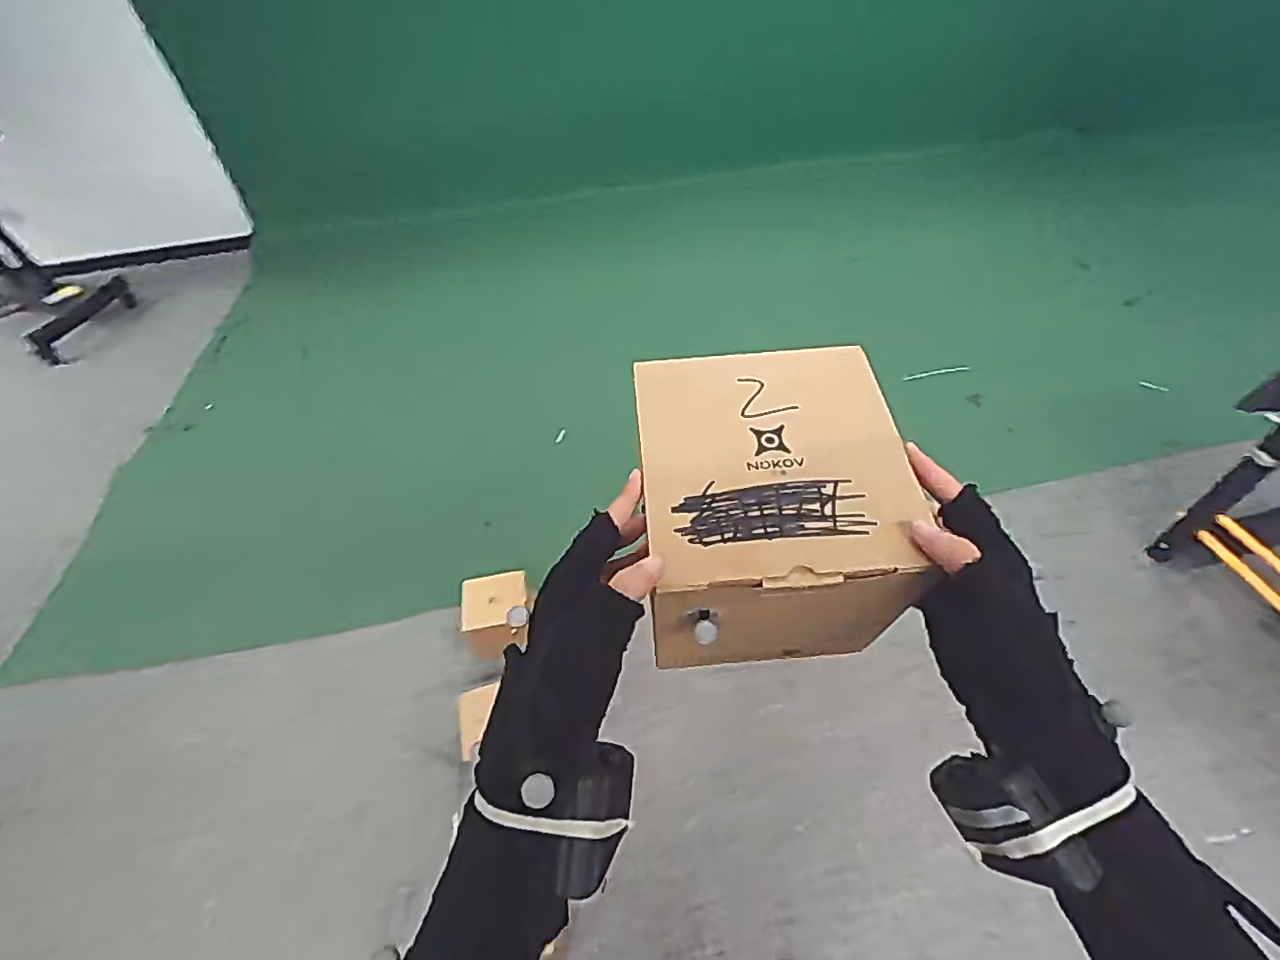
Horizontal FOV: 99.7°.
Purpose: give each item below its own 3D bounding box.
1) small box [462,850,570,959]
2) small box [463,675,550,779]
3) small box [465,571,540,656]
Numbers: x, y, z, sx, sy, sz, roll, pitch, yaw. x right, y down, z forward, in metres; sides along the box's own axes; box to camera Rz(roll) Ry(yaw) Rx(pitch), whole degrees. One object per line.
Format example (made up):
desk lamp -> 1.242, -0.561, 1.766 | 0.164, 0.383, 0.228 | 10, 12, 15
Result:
small box -> -0.250, 0.884, 1.100 | 0.179, 0.176, 0.168 | -12, 49, -8
small box -> -0.330, 0.620, 1.355 | 0.179, 0.176, 0.168 | -14, 47, -9
small box -> -0.397, 0.393, 1.575 | 0.179, 0.176, 0.168 | -10, 48, -6
